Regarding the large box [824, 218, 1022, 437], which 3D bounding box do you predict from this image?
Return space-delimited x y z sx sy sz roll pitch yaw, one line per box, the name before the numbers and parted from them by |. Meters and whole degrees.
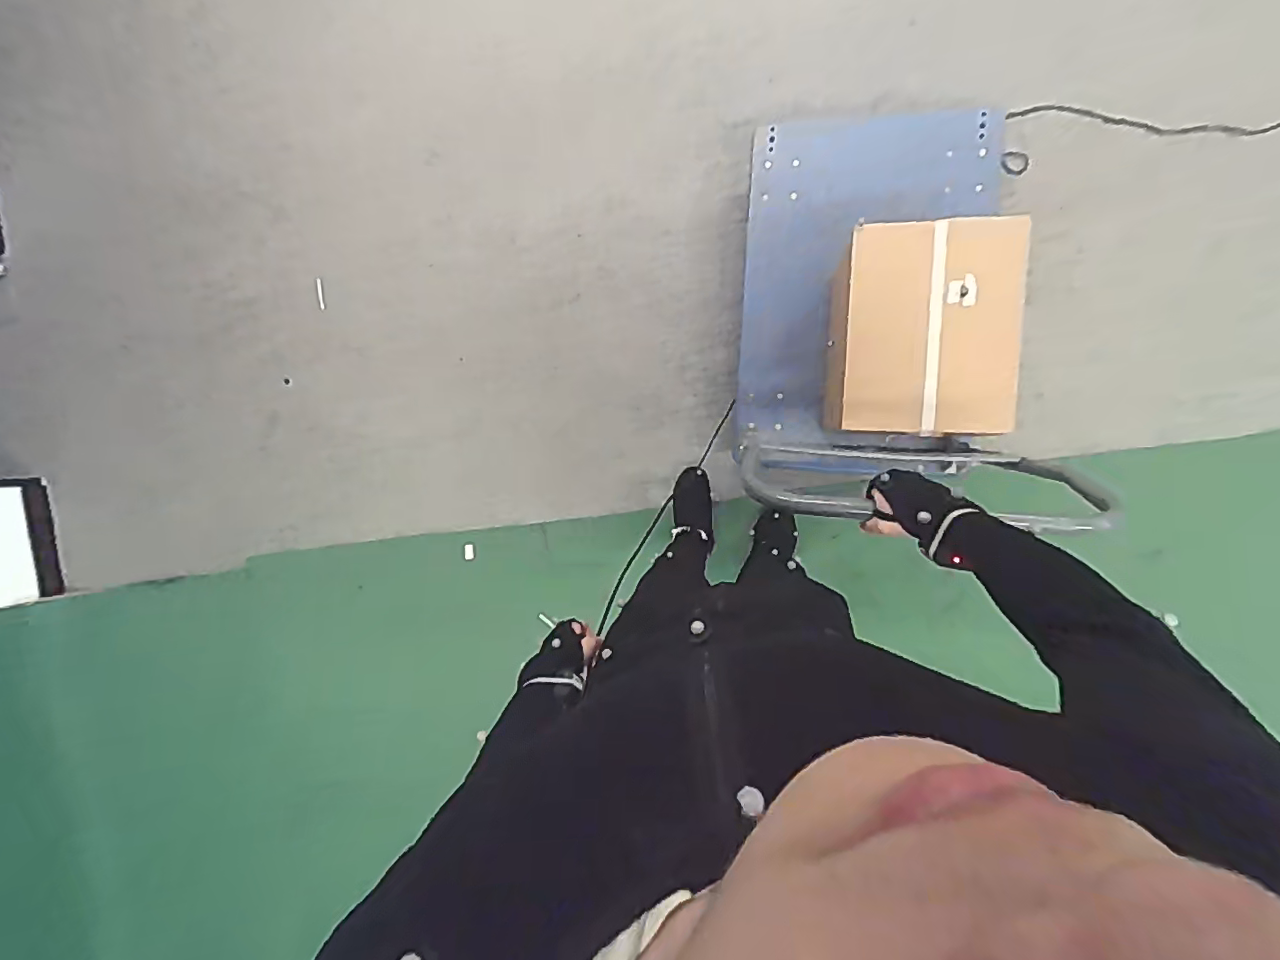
large box | 0.584 -0.299 1.186 0.320 0.320 0.408 3 94 11
